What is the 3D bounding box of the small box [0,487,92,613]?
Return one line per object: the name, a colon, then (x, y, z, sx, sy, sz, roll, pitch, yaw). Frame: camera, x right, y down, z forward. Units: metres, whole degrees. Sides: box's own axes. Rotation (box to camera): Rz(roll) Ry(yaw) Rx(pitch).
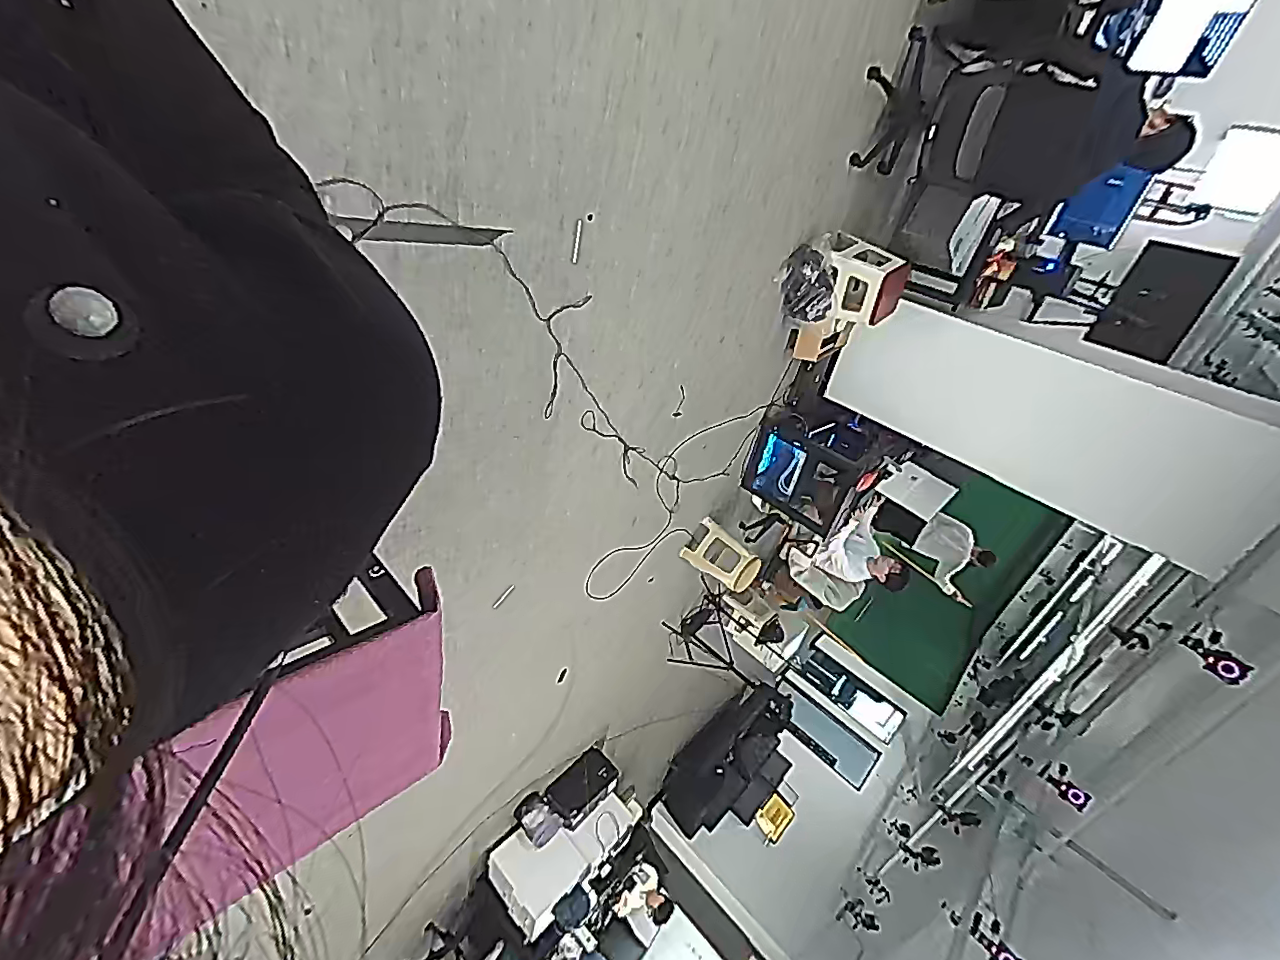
small box: (-1.289, 0.143, 1.121, 0.168, 0.176, 0.179, -23, 136, -43)
